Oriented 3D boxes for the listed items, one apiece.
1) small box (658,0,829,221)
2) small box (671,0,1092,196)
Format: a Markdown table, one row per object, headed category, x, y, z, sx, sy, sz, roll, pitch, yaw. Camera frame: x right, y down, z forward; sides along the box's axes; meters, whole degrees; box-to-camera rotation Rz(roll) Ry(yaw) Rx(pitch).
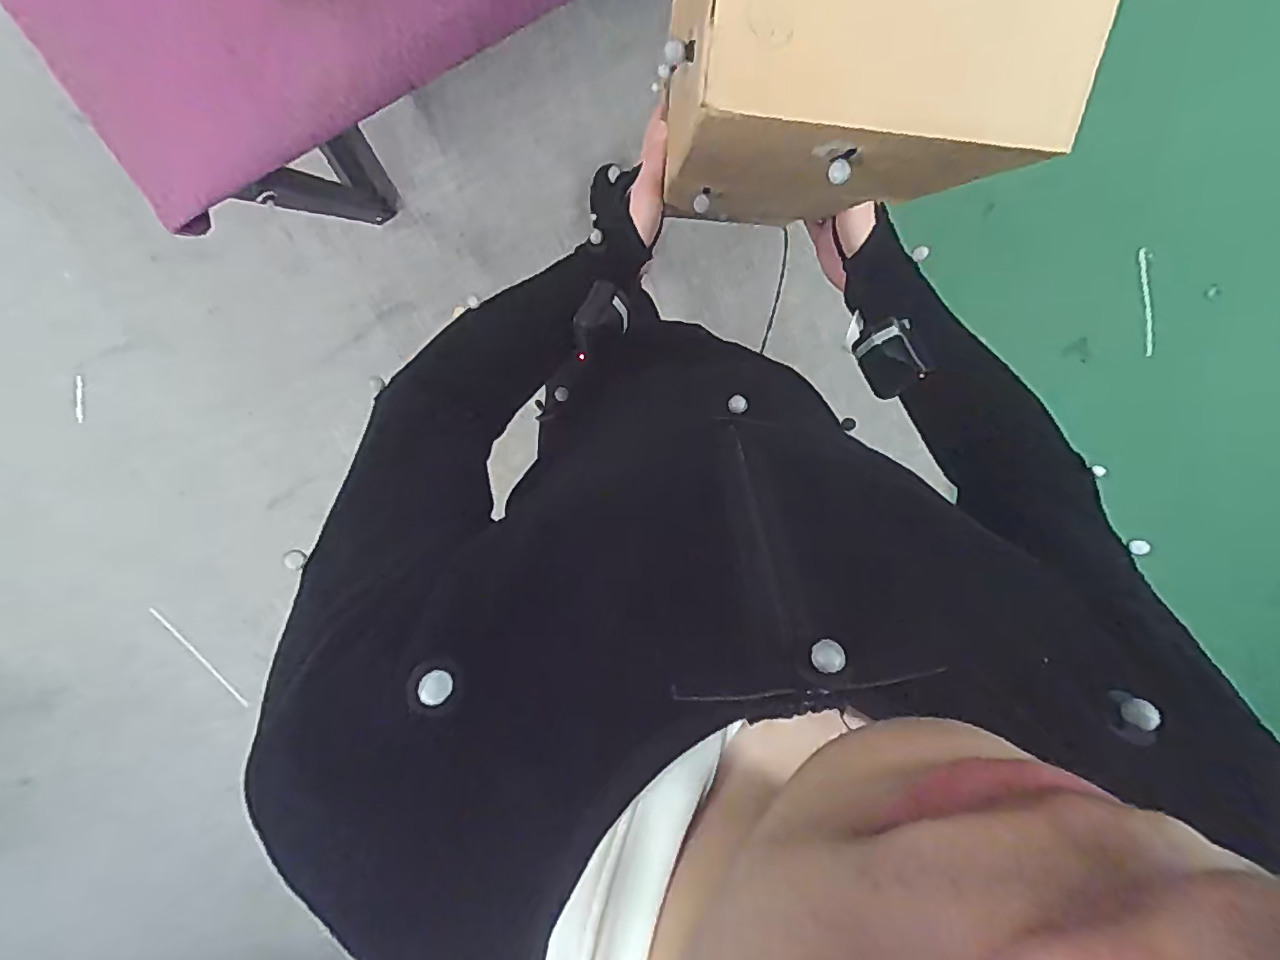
| category | x | y | z | sx | sy | sz | roll | pitch | yaw |
| --- | --- | --- | --- | --- | --- | --- | --- | --- | --- |
| small box | 0.113 | -0.392 | 0.602 | 0.179 | 0.176 | 0.168 | 4 | 109 | -2 |
| small box | 0.114 | -0.267 | 0.299 | 0.179 | 0.176 | 0.168 | 6 | 110 | -2 |
